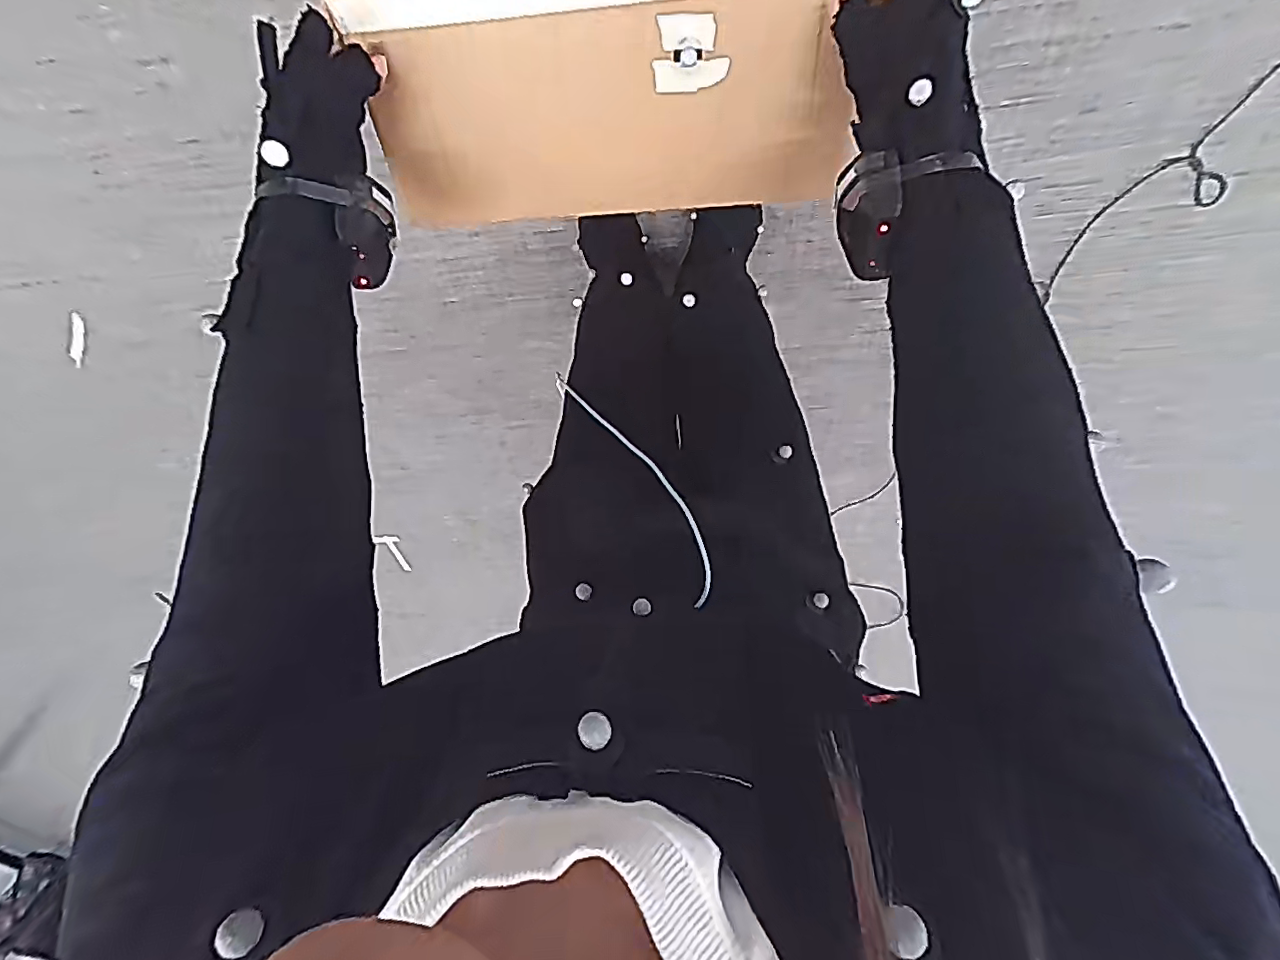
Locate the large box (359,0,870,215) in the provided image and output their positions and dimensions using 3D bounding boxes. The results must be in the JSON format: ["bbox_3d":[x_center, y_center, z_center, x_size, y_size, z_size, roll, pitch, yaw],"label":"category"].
[{"bbox_3d":[-0.021,-0.481,0.517,0.408,0.320,0.320,-2,134,5],"label":"large box"}]
